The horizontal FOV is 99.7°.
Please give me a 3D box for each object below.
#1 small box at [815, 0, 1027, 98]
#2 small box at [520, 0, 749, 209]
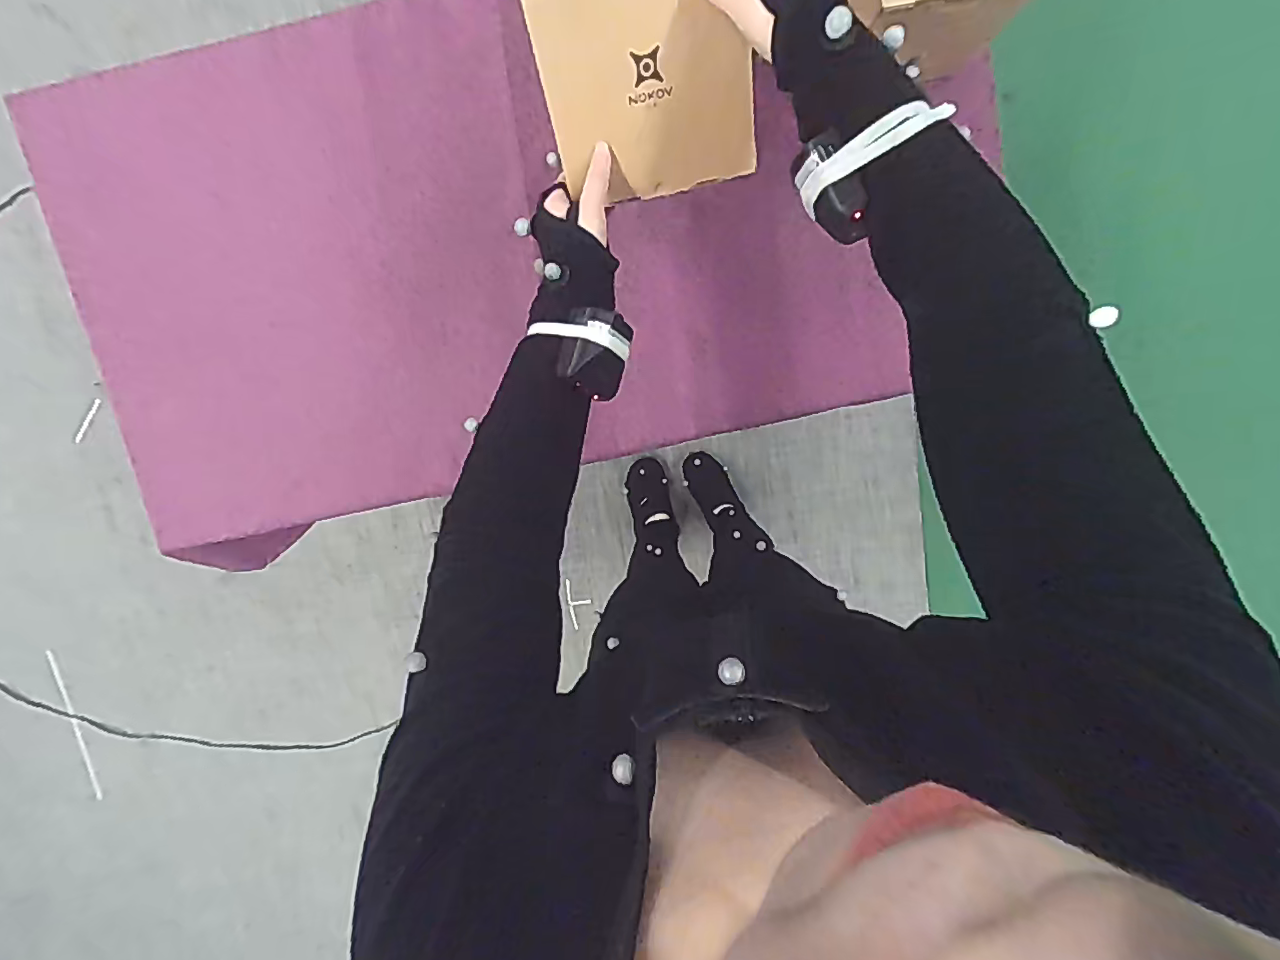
[{"bbox_3d":[0.286,-0.549,0.567,0.168,0.176,0.179,-9,100,3],"label":"small box"},{"bbox_3d":[-0.005,-0.374,0.482,0.168,0.176,0.179,-11,134,4],"label":"small box"}]
